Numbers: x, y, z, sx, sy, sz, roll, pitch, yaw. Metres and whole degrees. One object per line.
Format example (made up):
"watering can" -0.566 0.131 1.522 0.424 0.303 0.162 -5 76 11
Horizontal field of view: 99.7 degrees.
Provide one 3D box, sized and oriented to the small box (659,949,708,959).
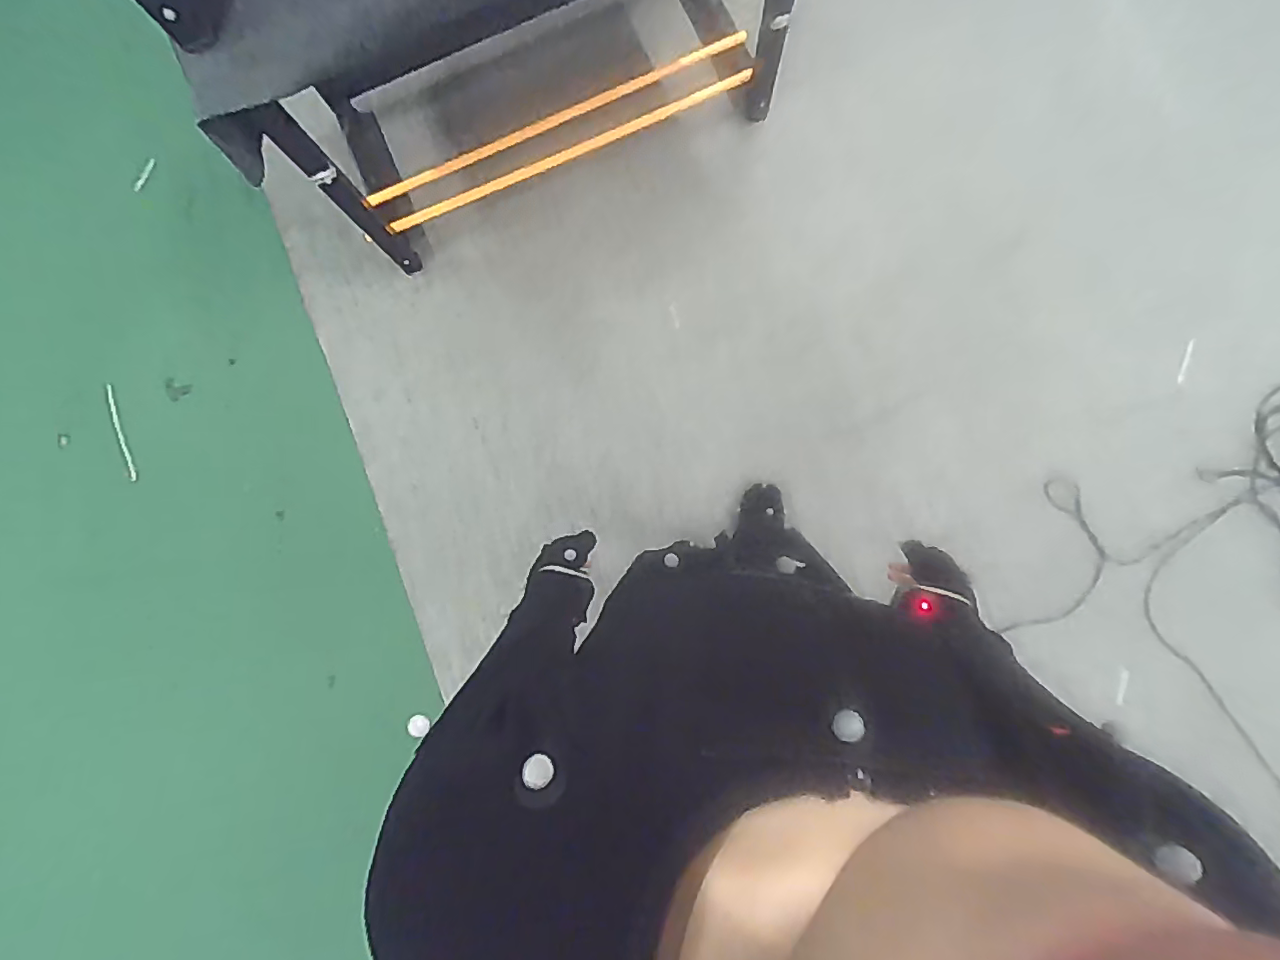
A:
"small box" 0.106 1.262 1.273 0.168 0.176 0.179 -21 83 1
